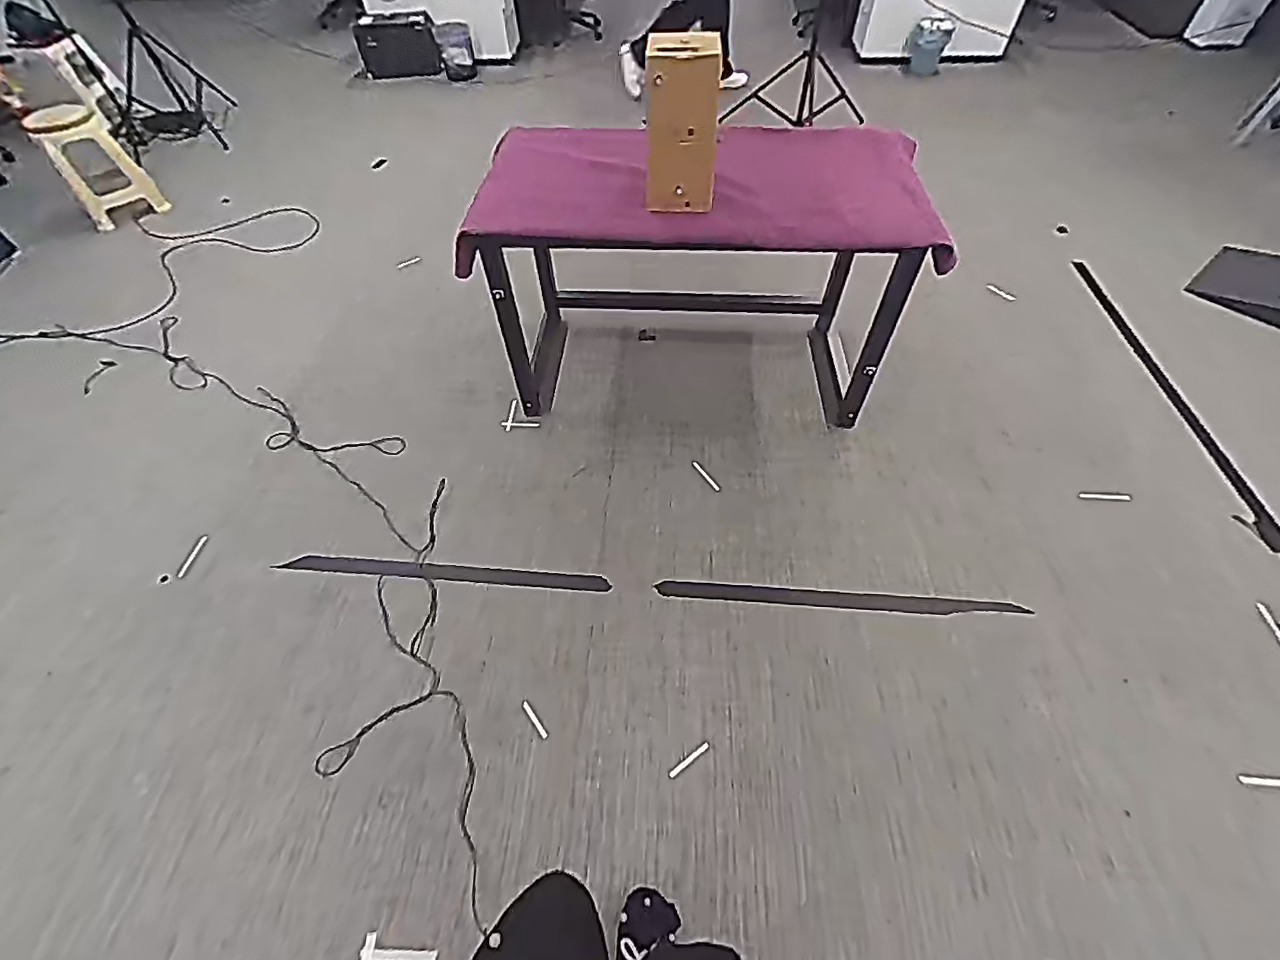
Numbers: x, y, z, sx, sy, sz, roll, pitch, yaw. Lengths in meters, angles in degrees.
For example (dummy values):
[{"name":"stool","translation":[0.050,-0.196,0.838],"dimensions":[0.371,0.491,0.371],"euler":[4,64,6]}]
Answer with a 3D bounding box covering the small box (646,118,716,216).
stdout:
[{"name":"small box","translation":[0.106,-0.811,1.401],"dimensions":[0.168,0.176,0.179],"euler":[4,53,5]}]
